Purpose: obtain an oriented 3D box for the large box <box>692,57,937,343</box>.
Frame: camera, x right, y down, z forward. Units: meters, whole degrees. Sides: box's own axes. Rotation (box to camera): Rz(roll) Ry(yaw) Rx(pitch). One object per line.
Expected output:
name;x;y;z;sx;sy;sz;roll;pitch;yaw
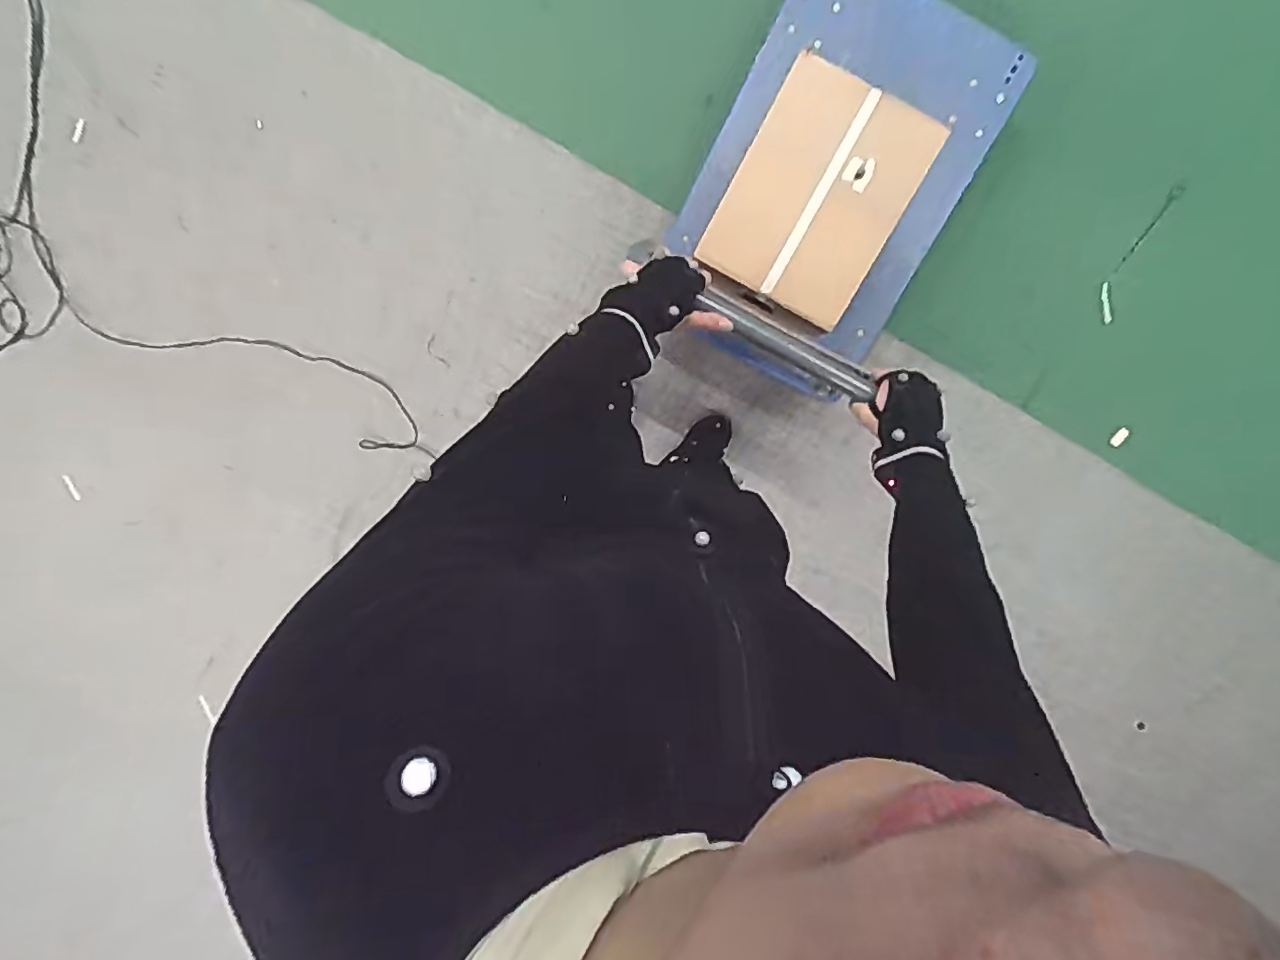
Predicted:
large box;0.336;-0.556;1.170;0.320;0.320;0.408;28;100;-1
